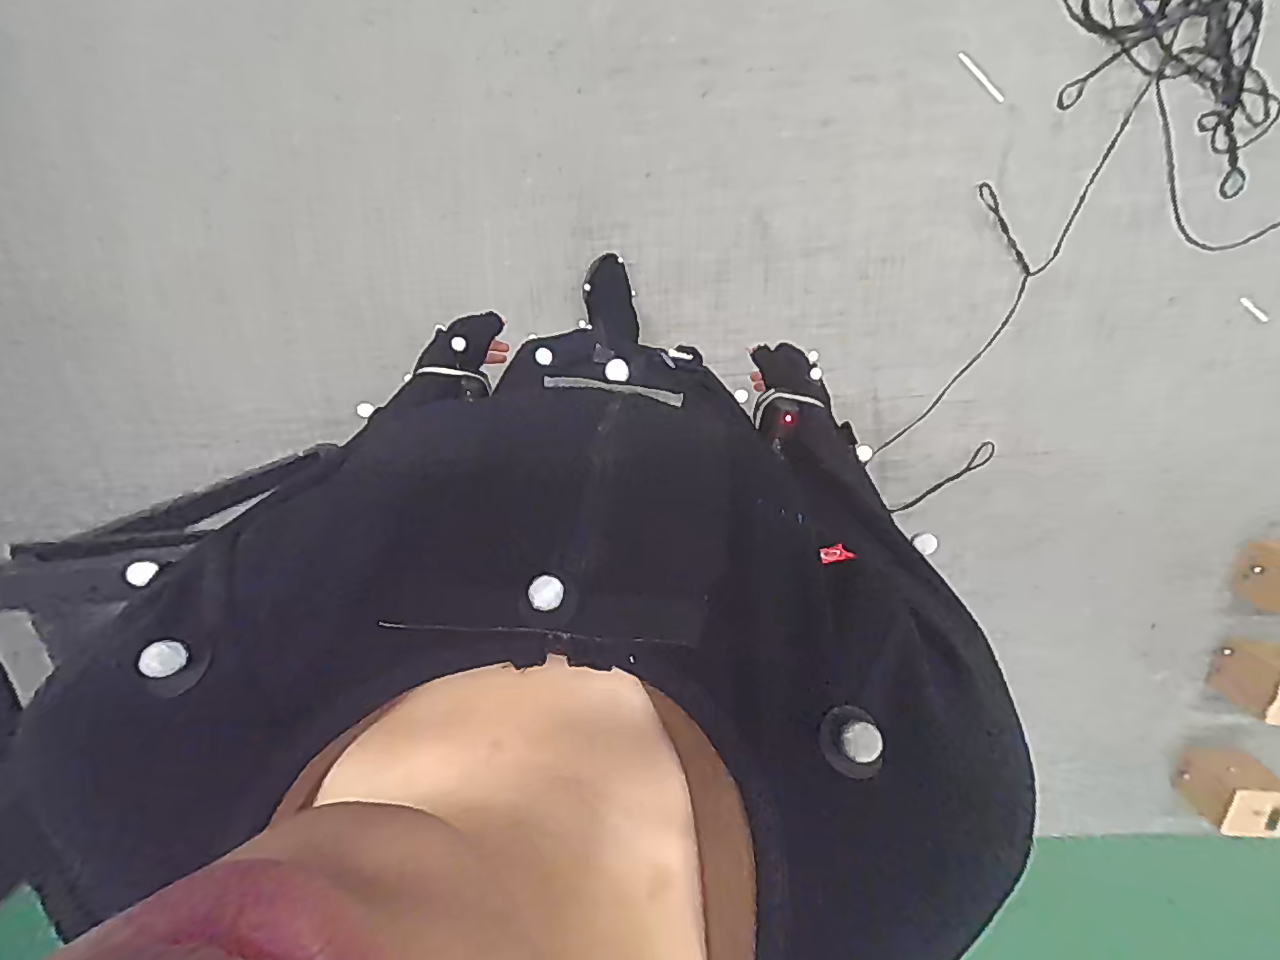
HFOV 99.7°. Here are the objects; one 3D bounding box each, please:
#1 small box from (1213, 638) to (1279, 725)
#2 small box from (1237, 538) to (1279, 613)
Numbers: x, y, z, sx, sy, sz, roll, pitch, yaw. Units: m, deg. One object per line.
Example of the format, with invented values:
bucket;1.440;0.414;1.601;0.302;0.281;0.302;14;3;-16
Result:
small box;1.770;0.556;1.496;0.179;0.176;0.168;3;107;1
small box;1.746;0.255;1.408;0.179;0.176;0.168;-3;106;4
